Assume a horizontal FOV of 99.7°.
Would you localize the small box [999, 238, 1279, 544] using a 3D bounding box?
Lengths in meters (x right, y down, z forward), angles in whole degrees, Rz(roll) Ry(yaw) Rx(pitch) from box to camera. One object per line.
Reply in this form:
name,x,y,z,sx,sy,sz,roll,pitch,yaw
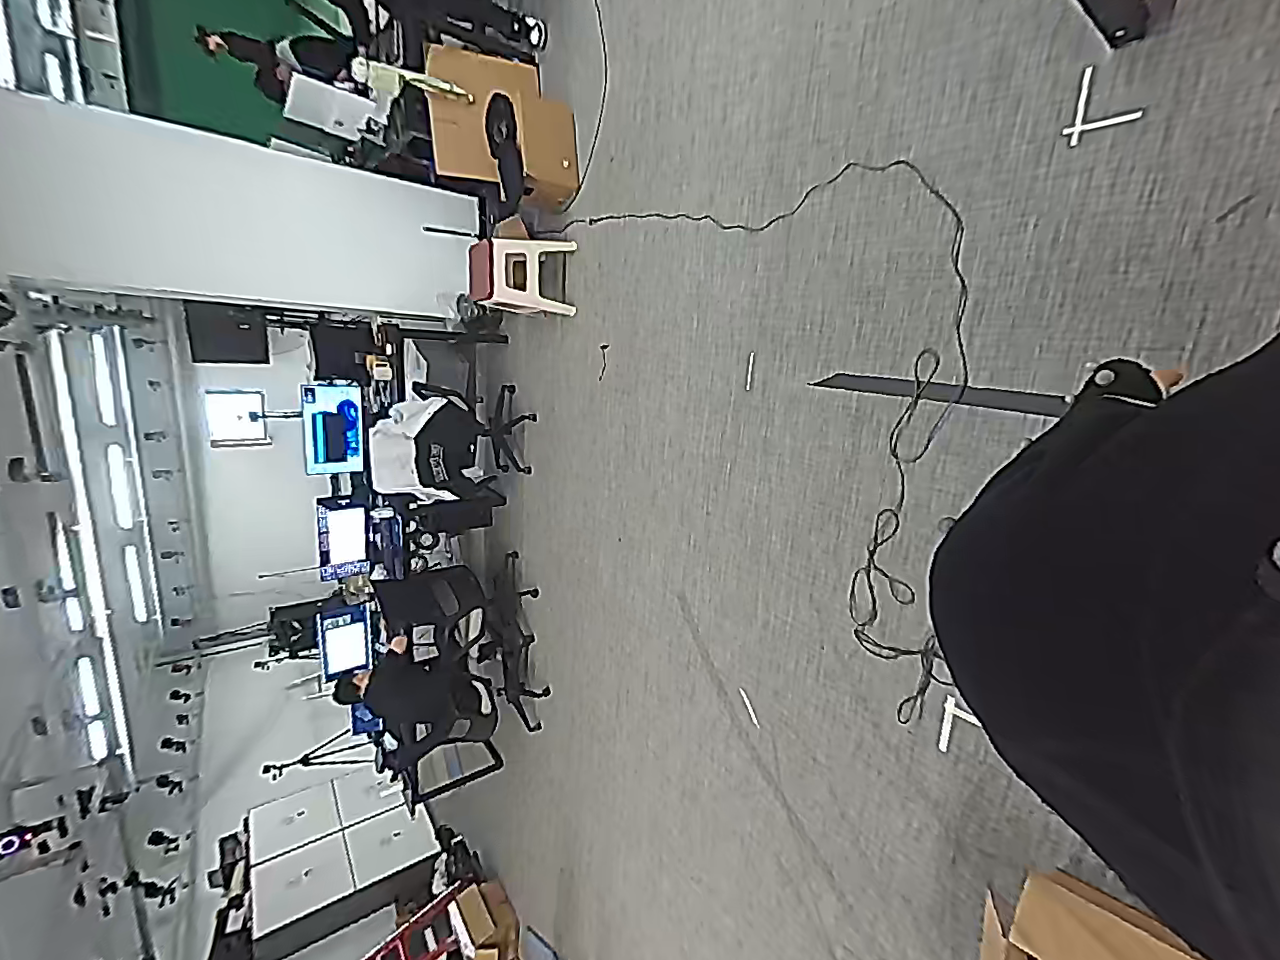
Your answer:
small box,0.442,-0.061,0.469,0.179,0.176,0.168,-16,50,28
